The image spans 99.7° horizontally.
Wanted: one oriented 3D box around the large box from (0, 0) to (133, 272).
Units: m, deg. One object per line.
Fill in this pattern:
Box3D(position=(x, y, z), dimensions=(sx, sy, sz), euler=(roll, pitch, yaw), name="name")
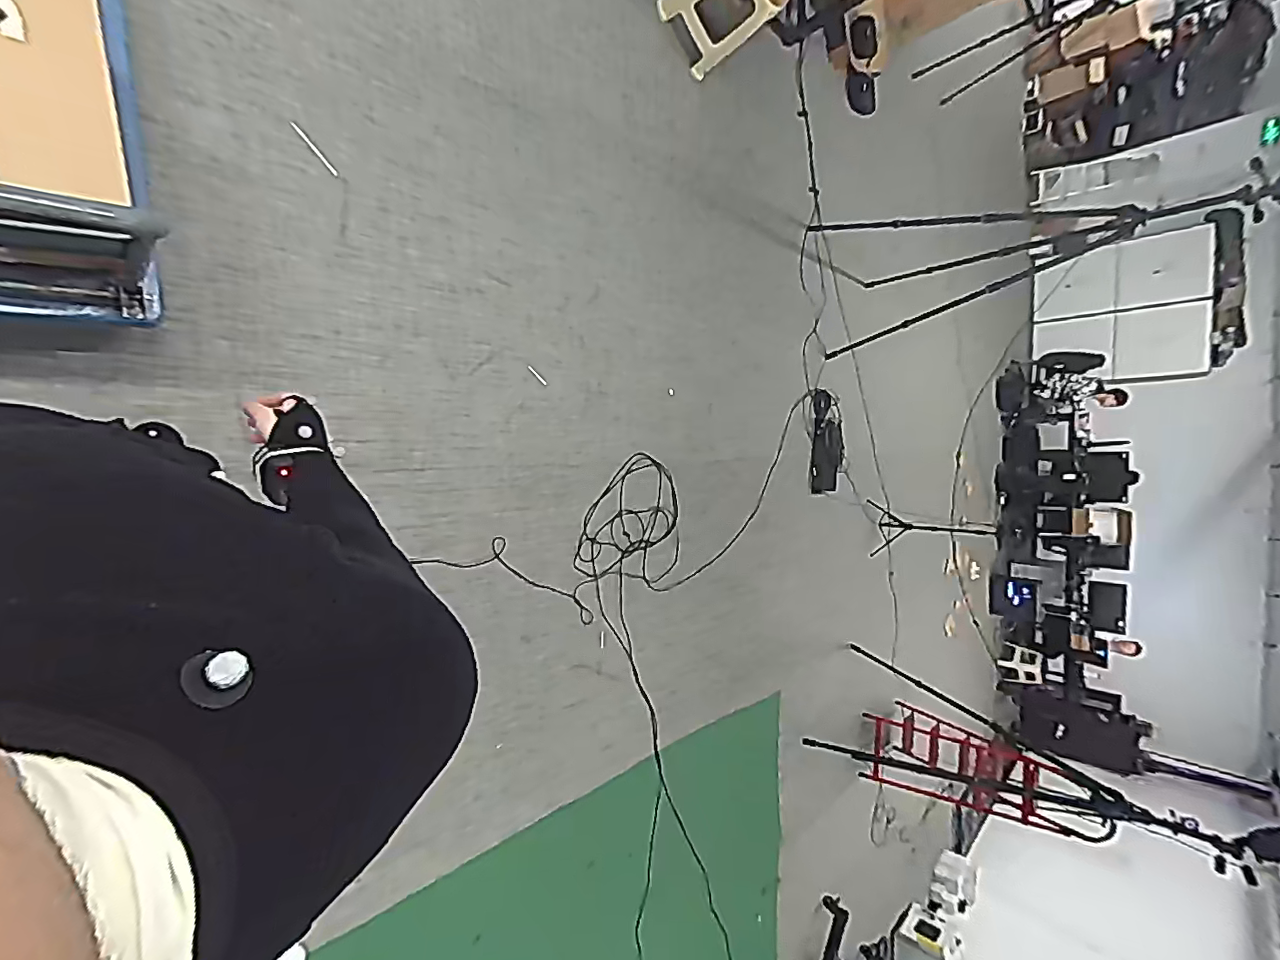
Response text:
Box3D(position=(-1.045, -0.581, 0.847), dimensions=(0.320, 0.320, 0.408), euler=(-11, 98, -44), name="large box")
